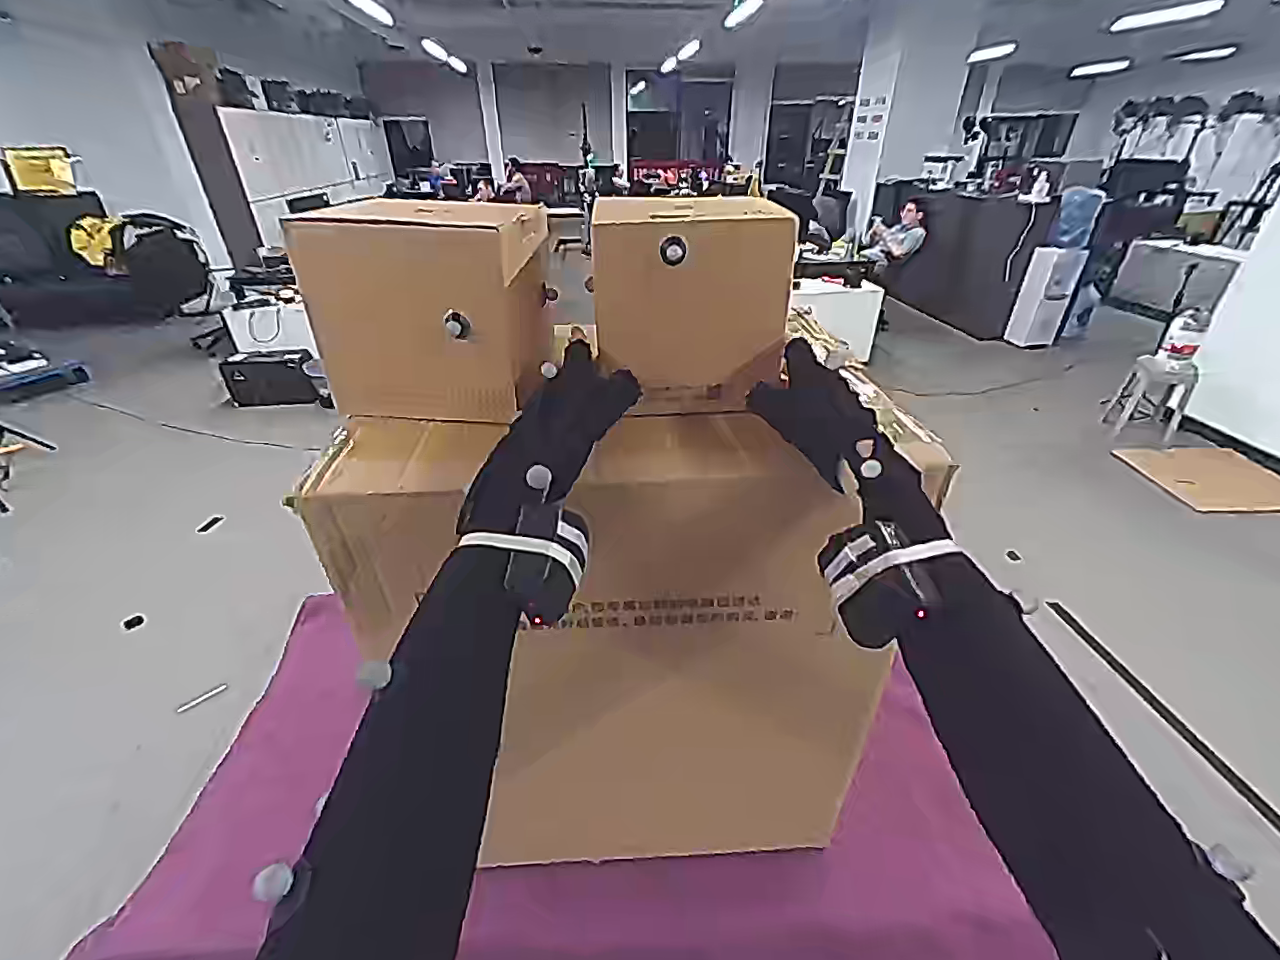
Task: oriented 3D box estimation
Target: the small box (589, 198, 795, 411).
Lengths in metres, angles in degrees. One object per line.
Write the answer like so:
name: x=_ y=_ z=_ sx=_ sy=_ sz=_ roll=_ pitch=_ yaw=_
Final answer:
small box: x=0.040 y=-0.178 z=0.535 sx=0.168 sy=0.176 sz=0.179 roll=-3 pitch=32 yaw=-1
